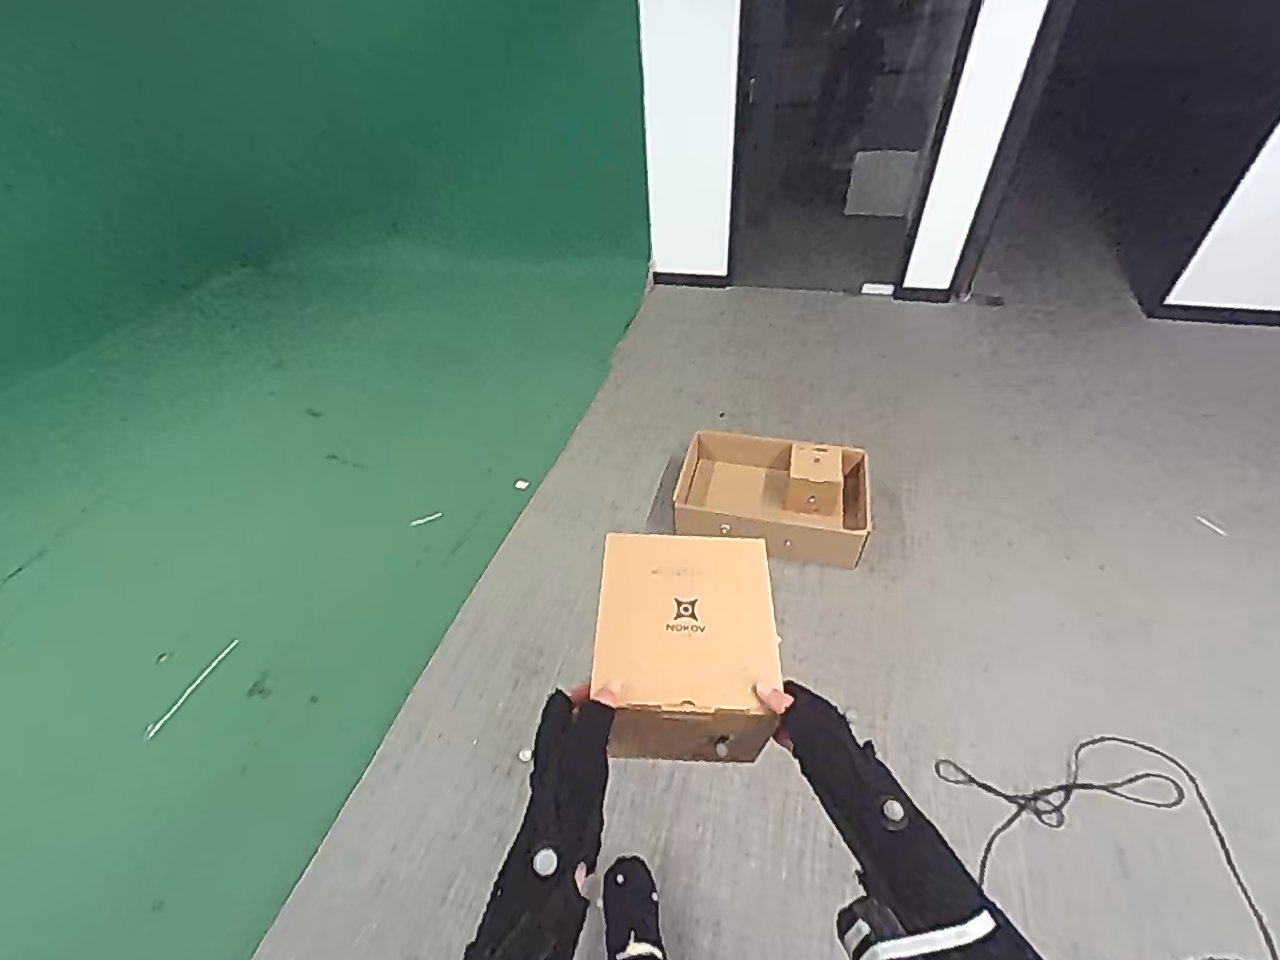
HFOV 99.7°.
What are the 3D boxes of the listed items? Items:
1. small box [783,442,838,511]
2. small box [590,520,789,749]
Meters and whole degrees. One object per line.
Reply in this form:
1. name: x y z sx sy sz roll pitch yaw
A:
1. small box: 0.590 -0.011 1.878 0.168 0.176 0.179 4 44 12
2. small box: 0.046 0.161 0.552 0.168 0.176 0.179 2 49 2
